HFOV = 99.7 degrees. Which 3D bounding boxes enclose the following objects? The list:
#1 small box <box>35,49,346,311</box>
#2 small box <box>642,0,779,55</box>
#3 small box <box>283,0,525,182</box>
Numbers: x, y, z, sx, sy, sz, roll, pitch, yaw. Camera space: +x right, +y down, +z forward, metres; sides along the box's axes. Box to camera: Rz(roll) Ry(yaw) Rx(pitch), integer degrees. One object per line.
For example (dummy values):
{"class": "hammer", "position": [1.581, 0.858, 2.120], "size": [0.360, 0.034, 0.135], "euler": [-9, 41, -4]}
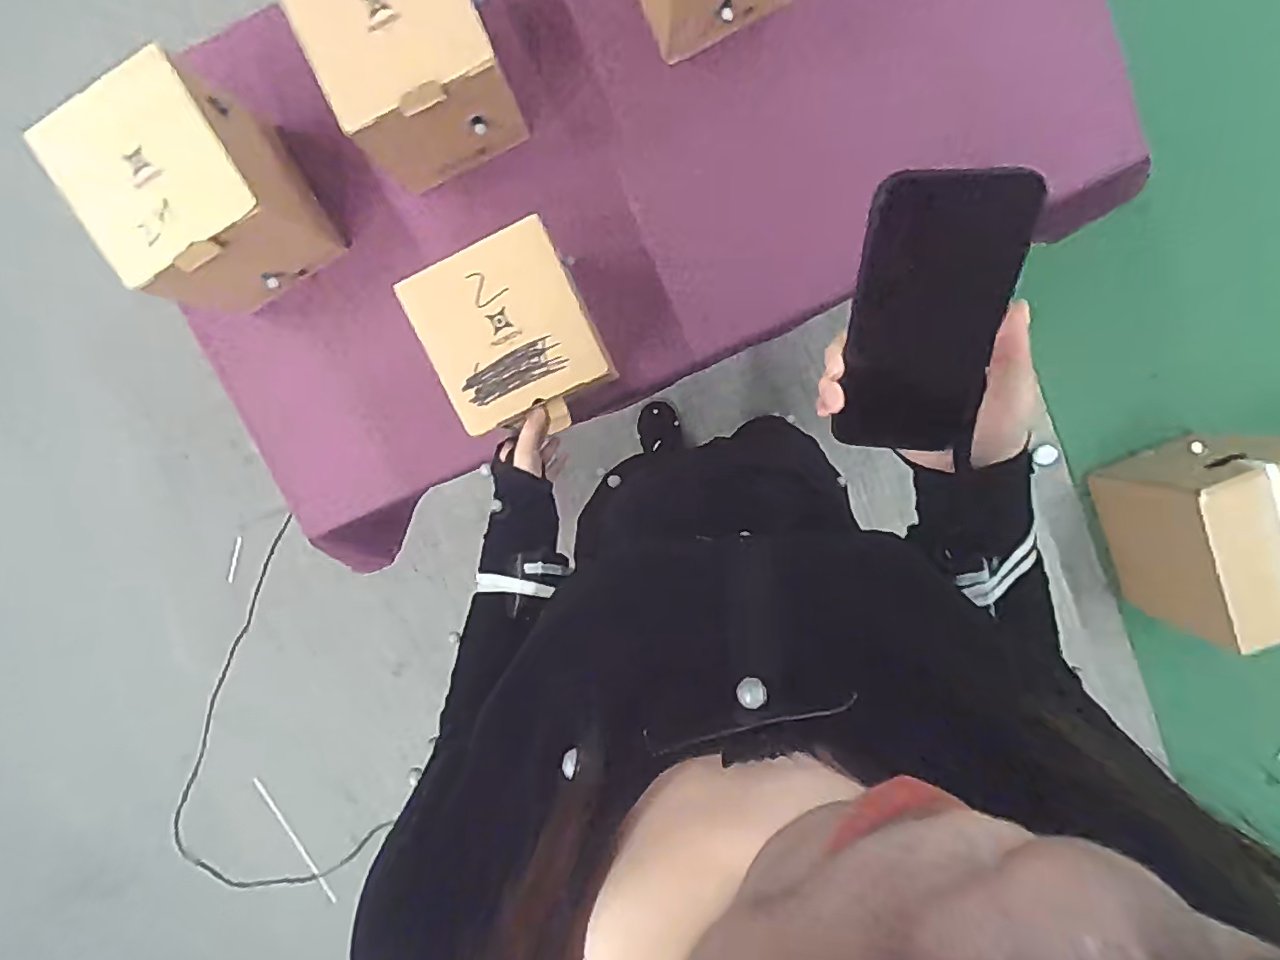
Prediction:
{"class": "small box", "position": [-0.488, -0.318, 0.619], "size": [0.168, 0.176, 0.179], "euler": [-29, 98, 6]}
{"class": "small box", "position": [0.068, -0.609, 0.562], "size": [0.168, 0.176, 0.179], "euler": [-26, 98, 5]}
{"class": "small box", "position": [-0.246, -0.459, 0.593], "size": [0.168, 0.176, 0.179], "euler": [-24, 98, 4]}
